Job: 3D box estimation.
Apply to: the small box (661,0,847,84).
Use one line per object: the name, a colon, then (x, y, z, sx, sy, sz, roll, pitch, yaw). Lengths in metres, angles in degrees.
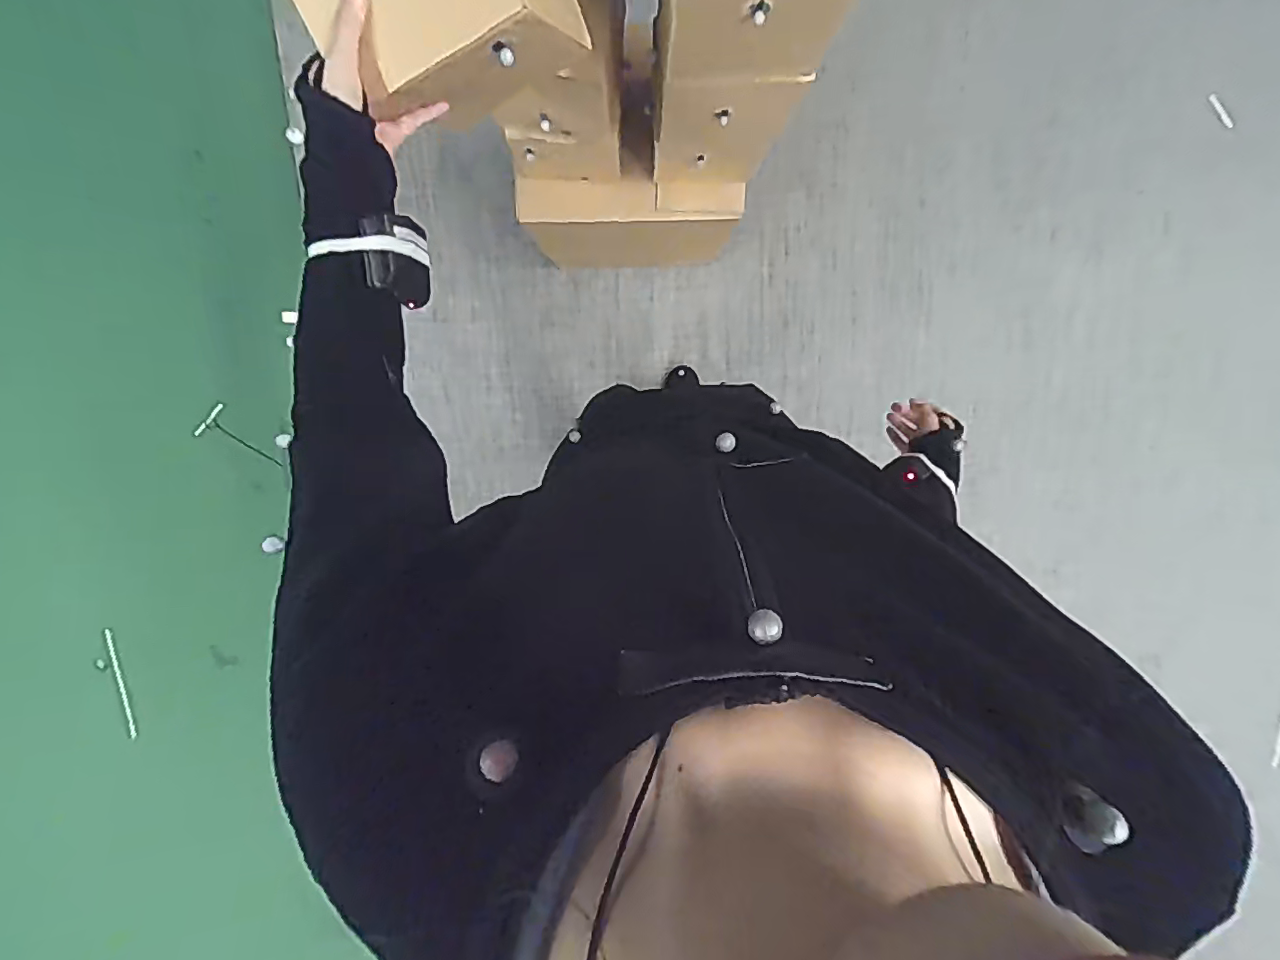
small box: (0.108, -0.517, 0.525, 0.179, 0.176, 0.168, -2, 101, 0)

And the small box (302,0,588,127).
small box: (-0.170, -0.431, 0.464, 0.179, 0.176, 0.168, -14, 114, 20)
